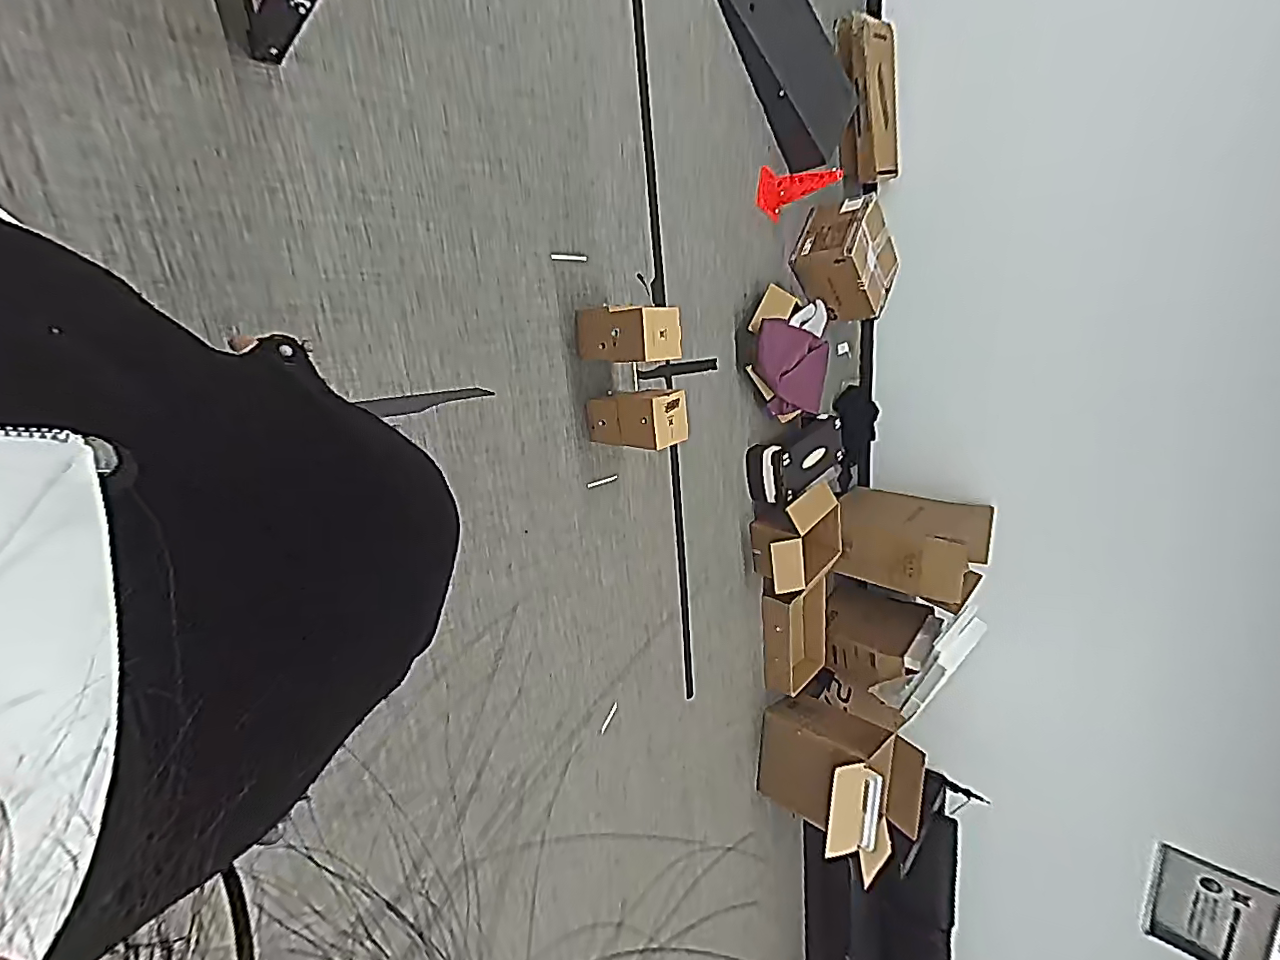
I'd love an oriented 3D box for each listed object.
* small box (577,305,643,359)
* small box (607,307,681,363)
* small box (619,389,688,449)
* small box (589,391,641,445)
[{"bbox_3d":[-0.101,-0.514,1.885,0.168,0.176,0.179,-18,110,-43],"label":"small box"},{"bbox_3d":[0.014,-0.476,1.774,0.179,0.176,0.168,-18,109,-42],"label":"small box"},{"bbox_3d":[0.044,-0.214,1.855,0.168,0.176,0.179,-23,114,-41],"label":"small box"},{"bbox_3d":[-0.071,-0.231,1.973,0.179,0.176,0.168,-22,113,-41],"label":"small box"}]
